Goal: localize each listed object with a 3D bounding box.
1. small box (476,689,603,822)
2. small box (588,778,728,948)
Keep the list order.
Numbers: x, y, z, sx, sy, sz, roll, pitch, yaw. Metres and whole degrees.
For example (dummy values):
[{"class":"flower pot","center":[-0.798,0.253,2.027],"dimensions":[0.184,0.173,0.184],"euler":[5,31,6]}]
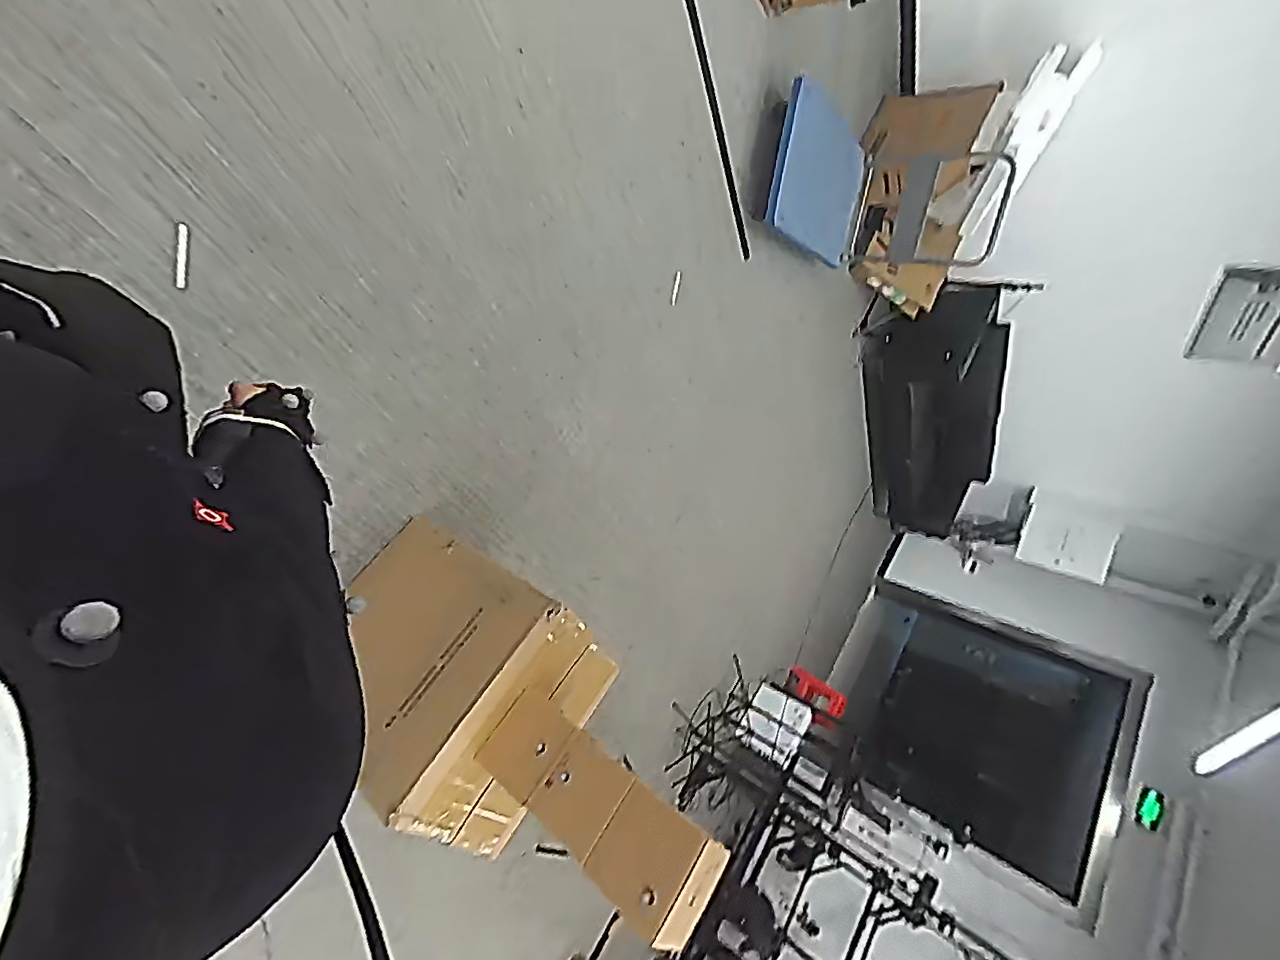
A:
[{"class":"small box","center":[-0.217,0.589,1.170],"dimensions":[0.179,0.176,0.168],"euler":[-51,139,-23]},{"class":"small box","center":[0.028,0.683,0.971],"dimensions":[0.179,0.176,0.168],"euler":[-52,139,-23]}]
